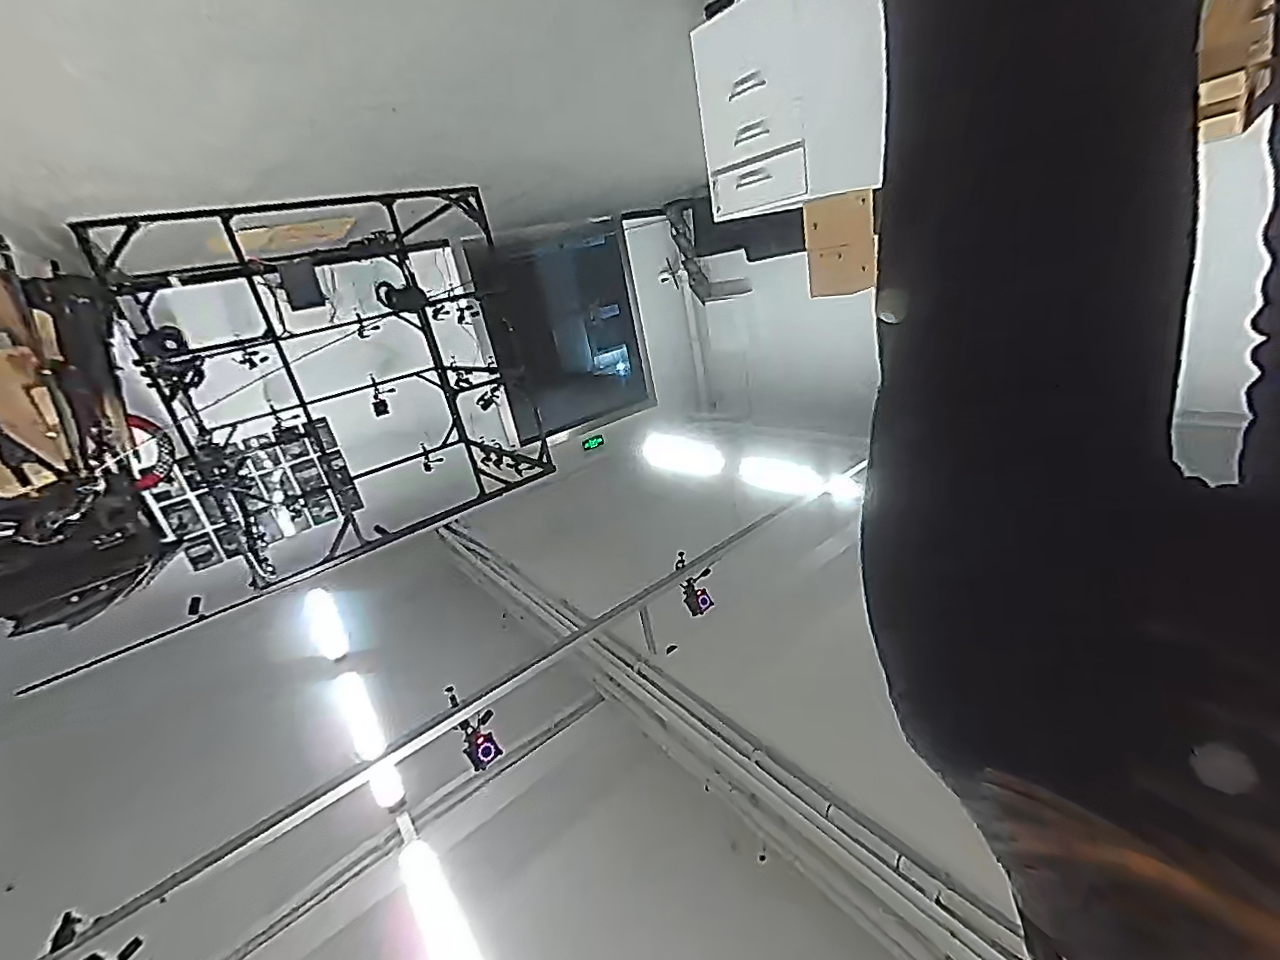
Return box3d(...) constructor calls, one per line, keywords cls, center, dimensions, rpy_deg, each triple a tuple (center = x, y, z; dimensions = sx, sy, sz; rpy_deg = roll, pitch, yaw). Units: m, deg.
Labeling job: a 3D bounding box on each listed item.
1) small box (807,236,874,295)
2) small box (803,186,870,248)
box3d(cls="small box", center=(0.731, -0.786, 1.978), dimensions=(0.179, 0.176, 0.168), rpy_deg=(-27, -152, -30))
box3d(cls="small box", center=(0.695, -0.932, 1.913), dimensions=(0.168, 0.176, 0.179), rpy_deg=(-28, -153, -34))
